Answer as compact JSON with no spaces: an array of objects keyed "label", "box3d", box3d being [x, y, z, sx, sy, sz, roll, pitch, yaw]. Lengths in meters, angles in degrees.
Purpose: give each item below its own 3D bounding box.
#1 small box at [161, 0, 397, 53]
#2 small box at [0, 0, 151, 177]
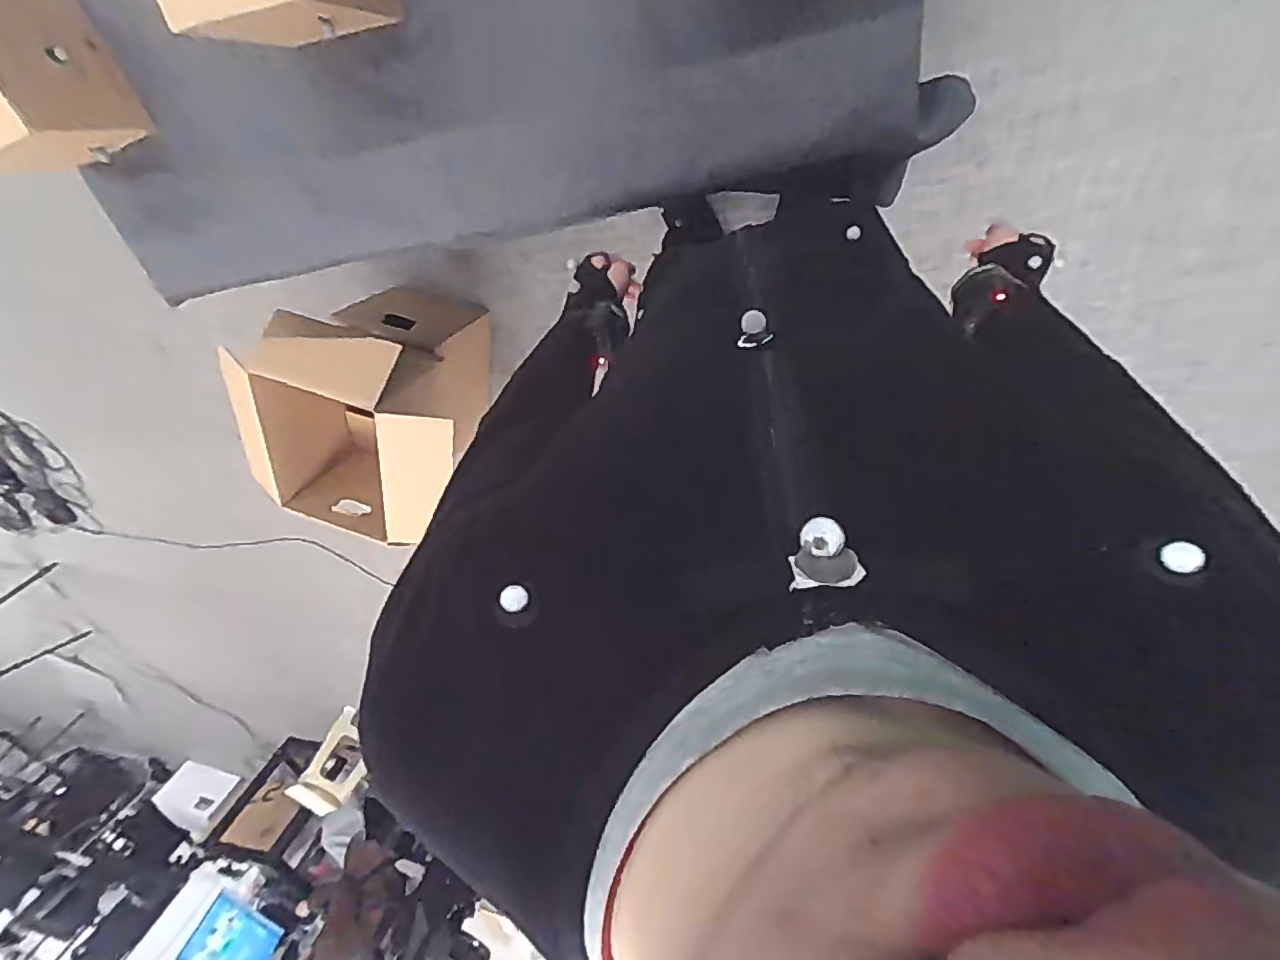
[{"label":"small box","box3d":[-0.382,-0.562,0.555,0.179,0.176,0.168,2,122,17]},{"label":"small box","box3d":[-0.814,-0.519,0.715,0.179,0.176,0.168,-7,121,20]}]
